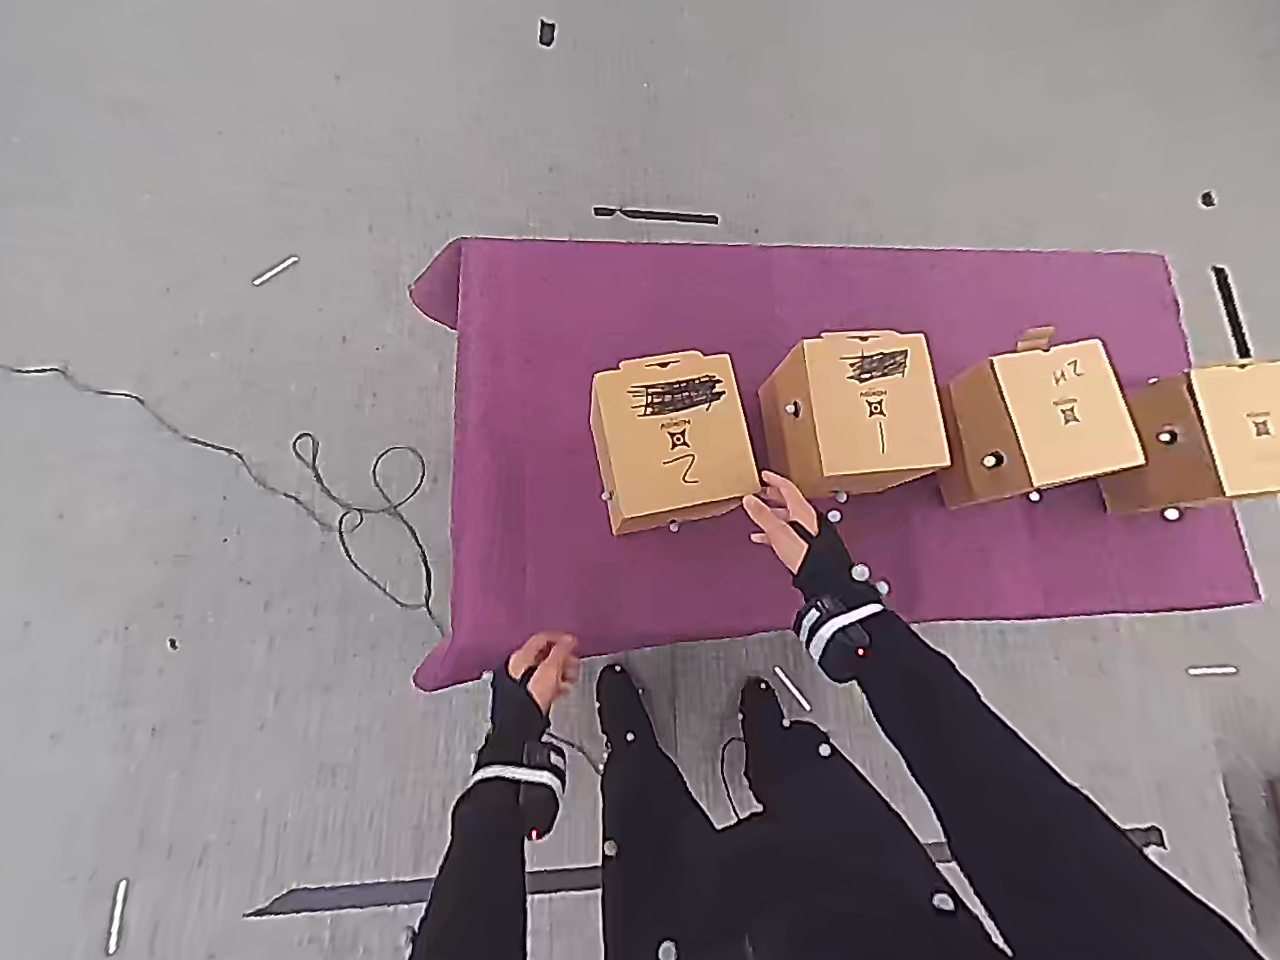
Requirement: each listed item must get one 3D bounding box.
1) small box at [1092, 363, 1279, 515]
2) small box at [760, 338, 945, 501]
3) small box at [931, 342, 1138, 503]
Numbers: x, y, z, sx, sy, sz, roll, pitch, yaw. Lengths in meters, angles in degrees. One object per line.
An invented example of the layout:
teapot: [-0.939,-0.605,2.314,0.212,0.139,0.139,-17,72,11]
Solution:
small box: [0.799,-0.054,0.794,0.168,0.176,0.179,-5,77,-6]
small box: [0.276,-0.076,0.744,0.168,0.176,0.179,-5,79,-7]
small box: [0.529,-0.070,0.769,0.168,0.176,0.179,-10,78,-9]
